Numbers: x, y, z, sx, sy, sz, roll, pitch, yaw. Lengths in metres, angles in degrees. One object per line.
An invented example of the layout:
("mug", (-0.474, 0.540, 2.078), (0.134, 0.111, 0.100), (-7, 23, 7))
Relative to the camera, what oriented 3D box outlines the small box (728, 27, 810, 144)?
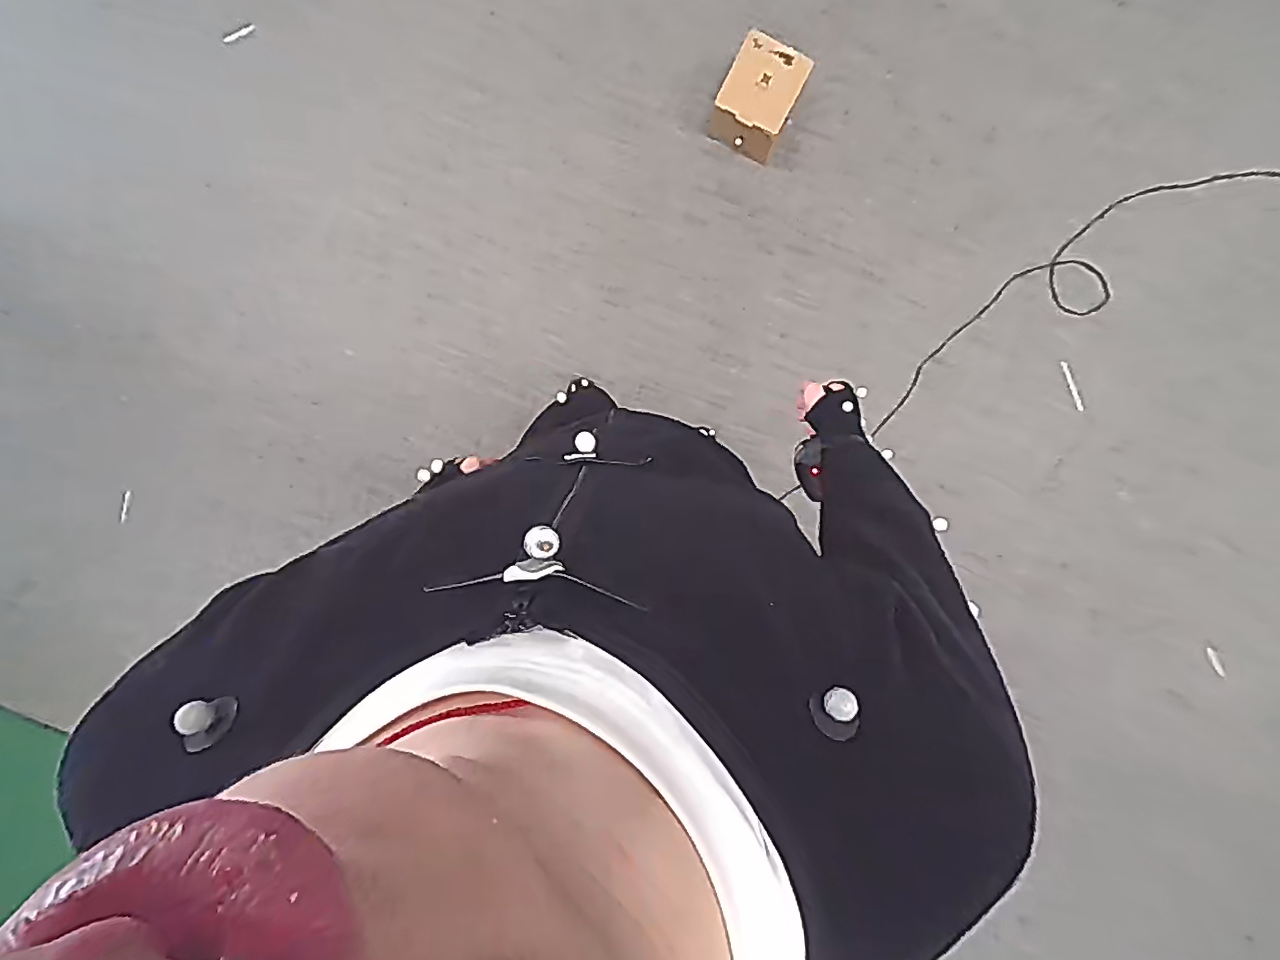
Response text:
("small box", (0.301, -0.931, 1.294), (0.179, 0.176, 0.168), (0, 98, 7))
